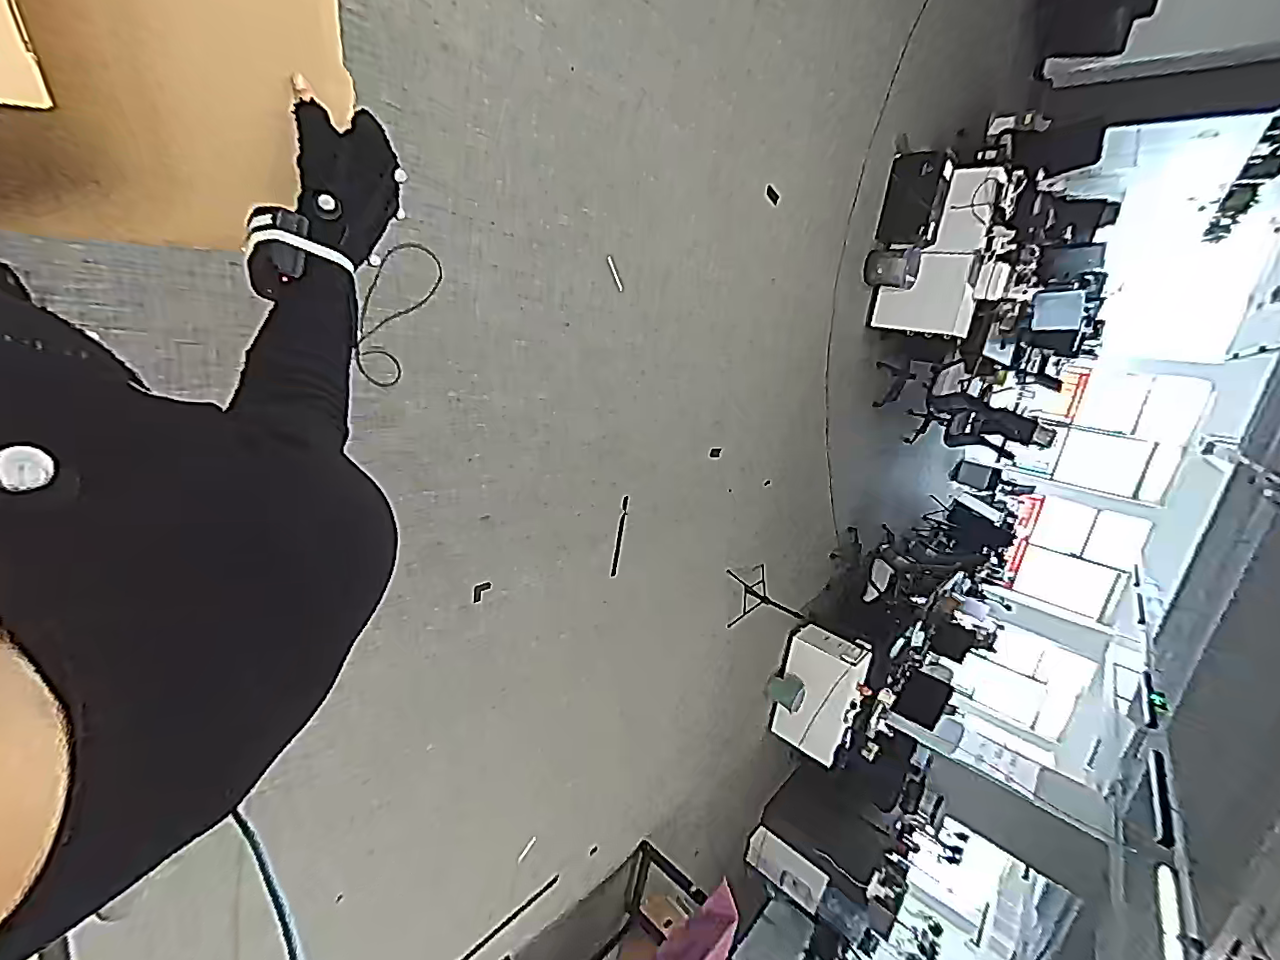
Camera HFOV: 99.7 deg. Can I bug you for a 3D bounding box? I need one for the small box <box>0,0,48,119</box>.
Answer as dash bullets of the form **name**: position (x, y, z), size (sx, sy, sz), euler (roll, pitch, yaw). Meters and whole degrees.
- **small box**: position (-0.508, -0.305, 0.291), size (0.179, 0.176, 0.168), euler (-45, 142, -56)
